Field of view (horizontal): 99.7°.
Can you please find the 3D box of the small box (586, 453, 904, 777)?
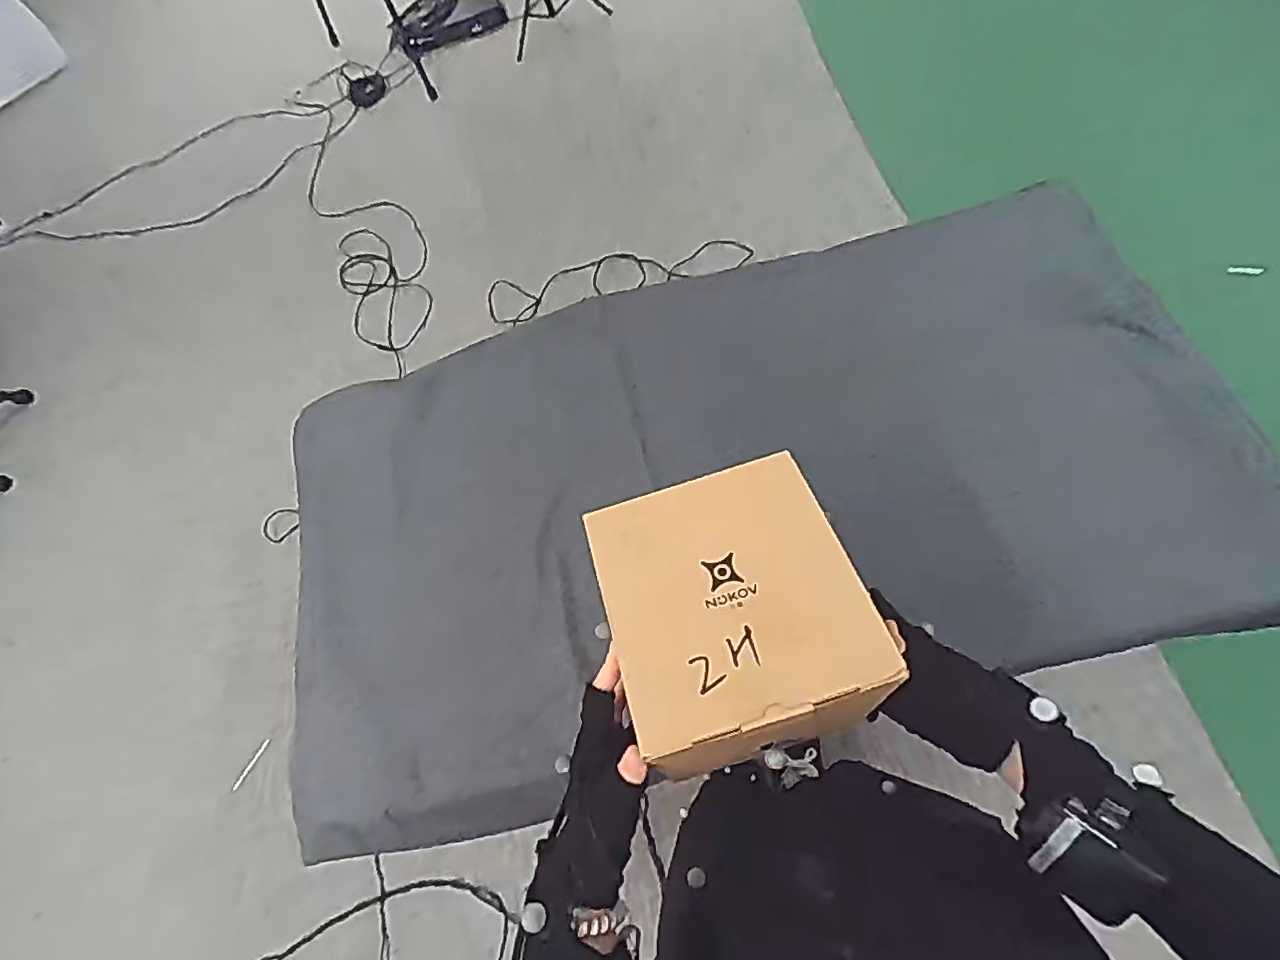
[{"bbox_3d":[0.069,0.113,0.426,0.168,0.176,0.179,-18,57,0],"label":"small box"}]
